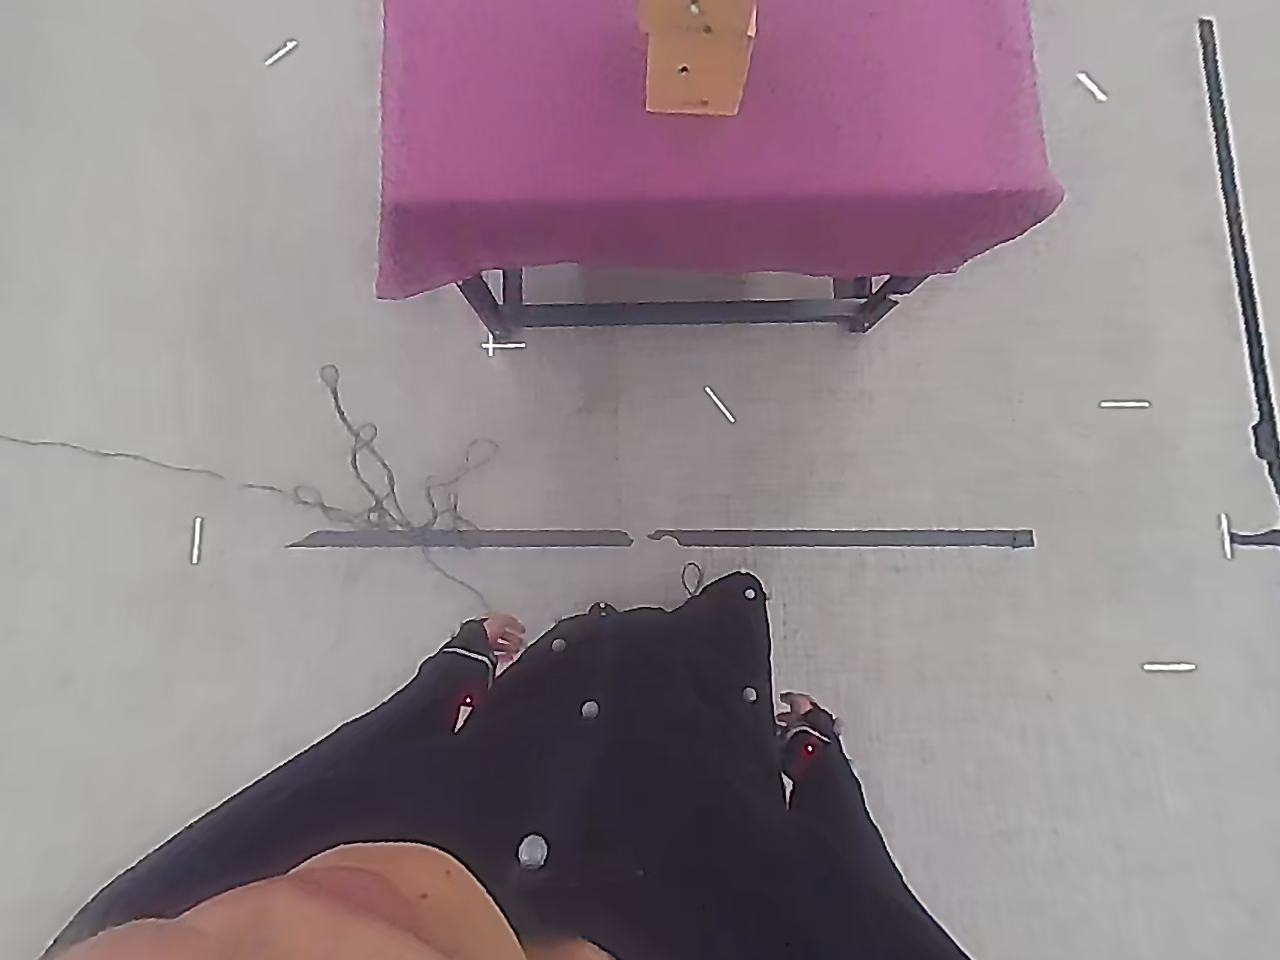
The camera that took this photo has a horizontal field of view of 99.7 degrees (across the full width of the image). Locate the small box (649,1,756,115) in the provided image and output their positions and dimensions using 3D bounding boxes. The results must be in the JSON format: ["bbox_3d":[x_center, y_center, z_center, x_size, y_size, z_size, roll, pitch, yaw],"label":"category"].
[{"bbox_3d":[0.101,-0.761,0.920,0.168,0.176,0.179,2,83,0],"label":"small box"}]

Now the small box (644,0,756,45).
[{"bbox_3d":[0.096,-0.769,0.755,0.168,0.176,0.179,9,84,1],"label":"small box"}]
